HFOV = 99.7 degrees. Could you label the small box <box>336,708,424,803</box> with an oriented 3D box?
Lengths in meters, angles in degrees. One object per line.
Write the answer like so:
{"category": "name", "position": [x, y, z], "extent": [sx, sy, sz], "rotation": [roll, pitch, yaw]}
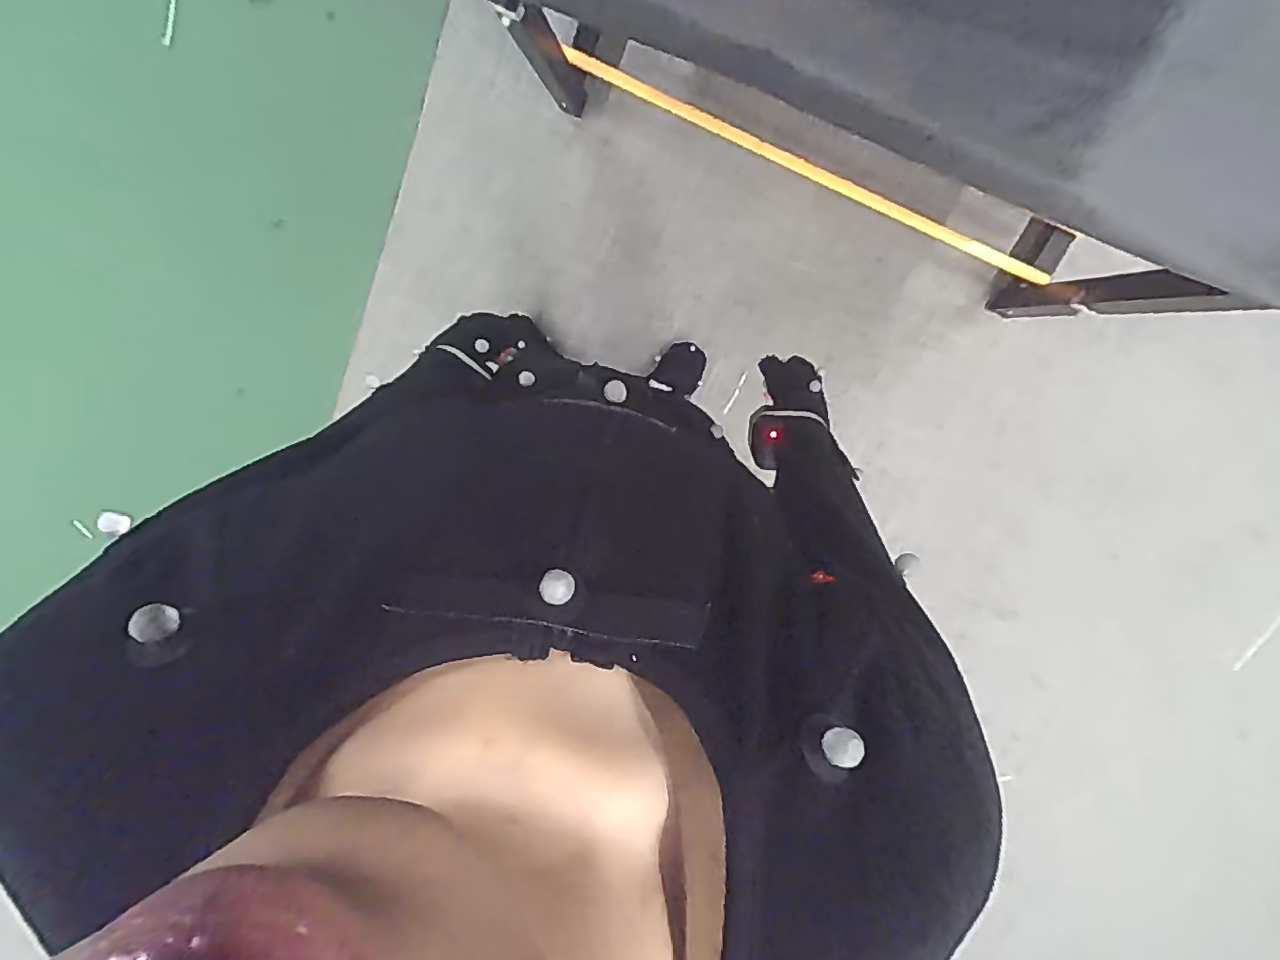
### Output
{"category": "small box", "position": [-0.834, 0.888, 1.752], "extent": [0.168, 0.176, 0.179], "rotation": [32, 106, -2]}
